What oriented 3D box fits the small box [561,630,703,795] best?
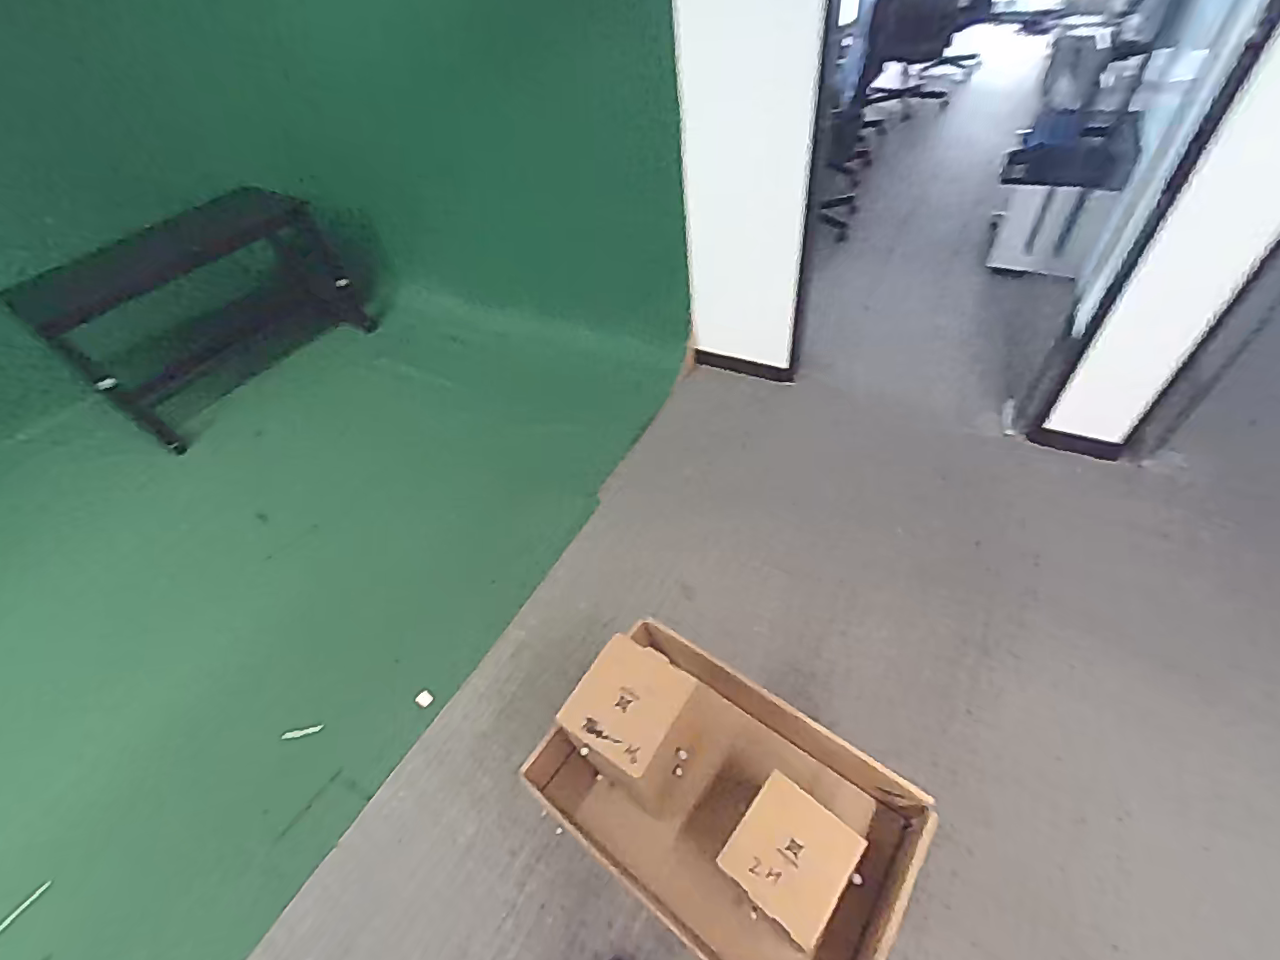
[{"bbox_3d":[-0.003,0.399,0.929,0.168,0.176,0.179,22,57,29],"label":"small box"}]

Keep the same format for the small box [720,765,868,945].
[{"bbox_3d":[0.250,0.624,0.904,0.168,0.176,0.179,31,62,32],"label":"small box"}]
